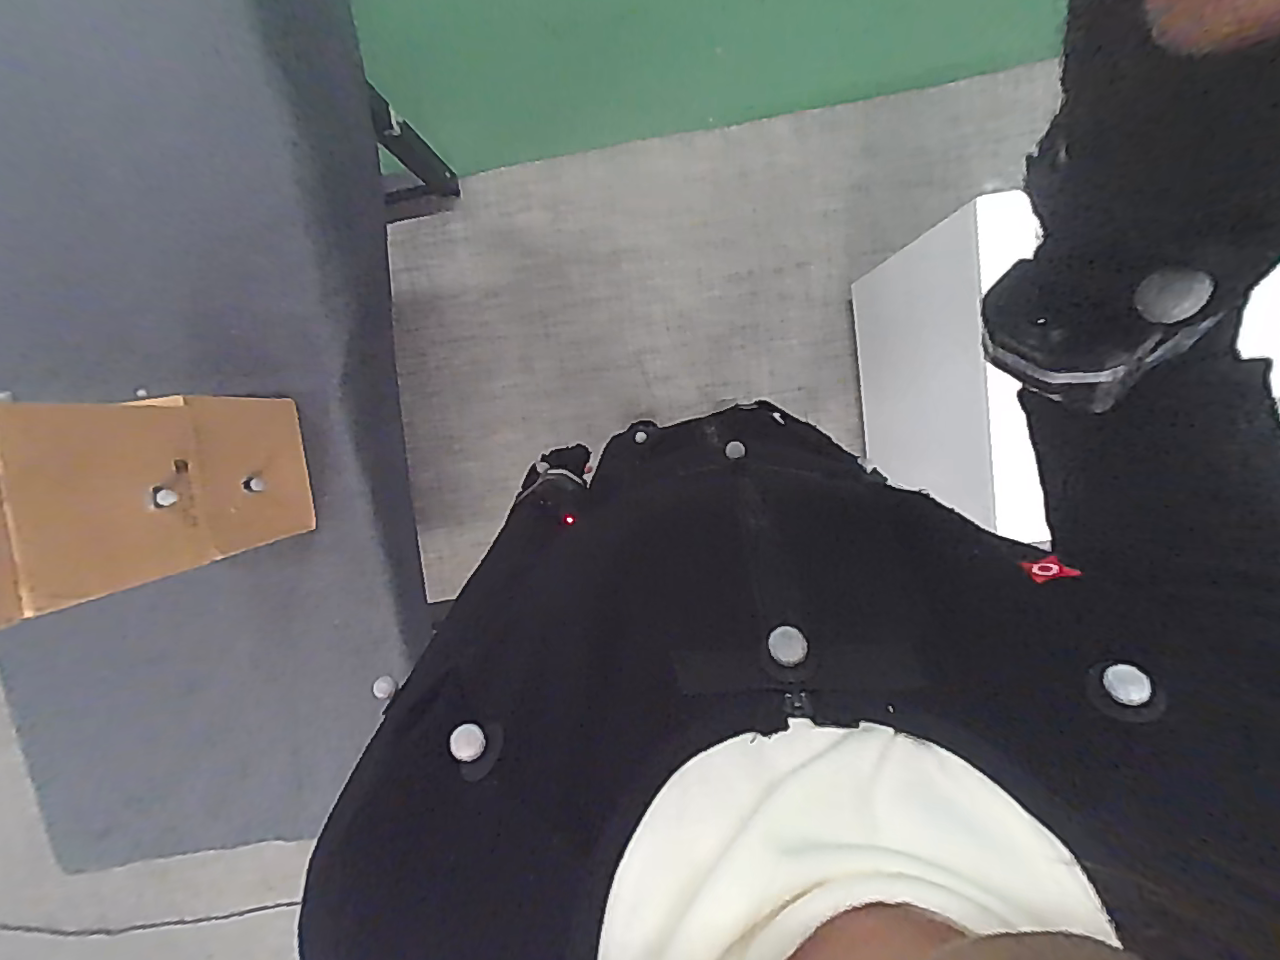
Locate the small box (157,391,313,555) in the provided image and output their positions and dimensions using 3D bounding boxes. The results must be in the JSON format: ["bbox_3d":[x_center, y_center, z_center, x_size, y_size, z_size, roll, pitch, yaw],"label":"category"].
[{"bbox_3d":[-0.535,-0.014,0.658,0.168,0.176,0.179,-5,98,5],"label":"small box"}]

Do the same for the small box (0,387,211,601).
[{"bbox_3d":[-0.553,0.008,0.496,0.179,0.176,0.168,-5,97,7],"label":"small box"}]
